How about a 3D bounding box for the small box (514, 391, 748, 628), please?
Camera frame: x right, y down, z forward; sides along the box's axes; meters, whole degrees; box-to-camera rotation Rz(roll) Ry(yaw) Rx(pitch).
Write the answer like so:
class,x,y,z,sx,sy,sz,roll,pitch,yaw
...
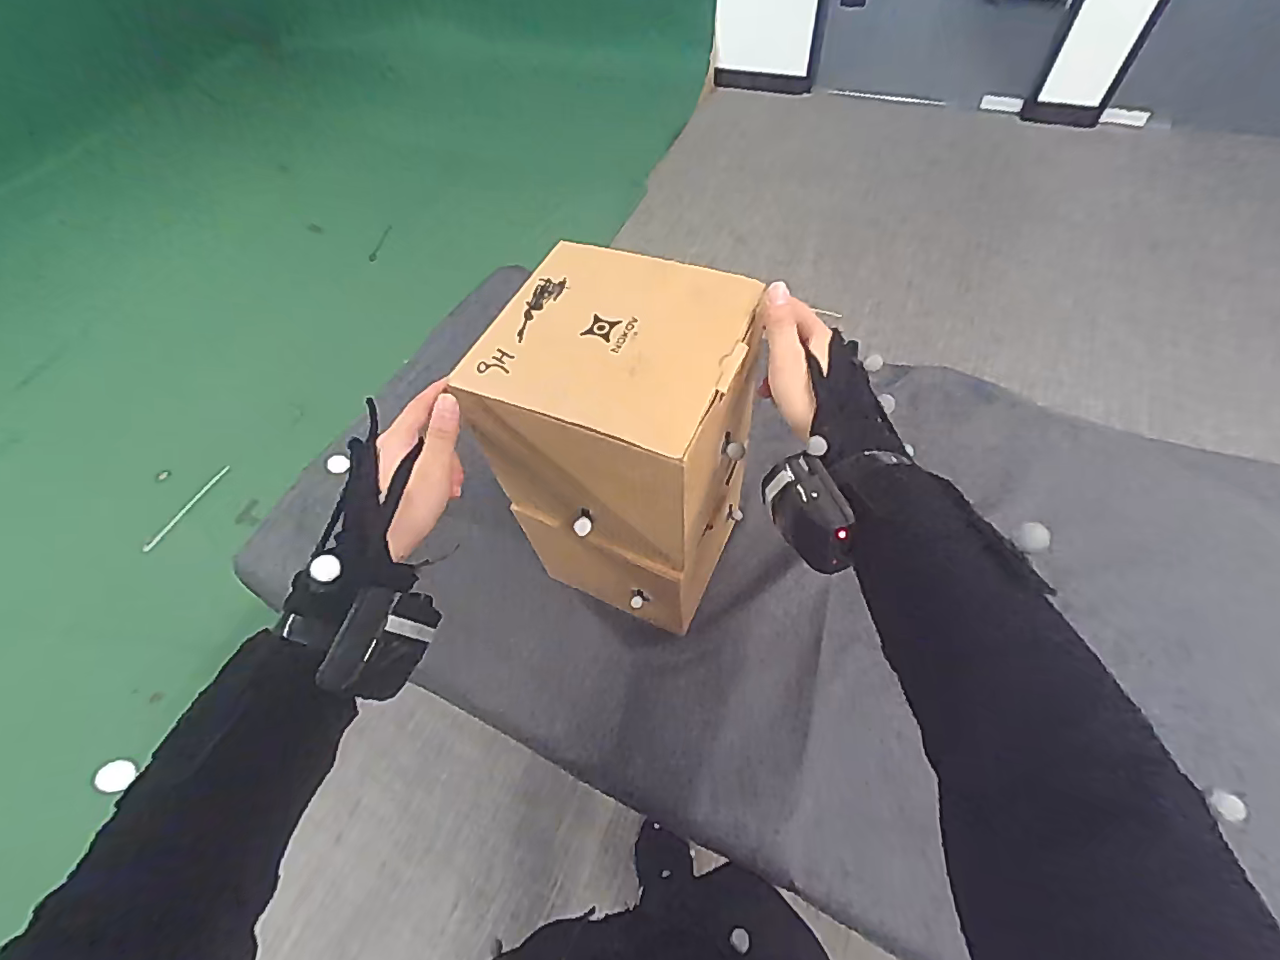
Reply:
class,x,y,z,sx,sy,sz,roll,pitch,yaw
small box,-0.001,0.039,0.581,0.179,0.176,0.168,20,60,17
